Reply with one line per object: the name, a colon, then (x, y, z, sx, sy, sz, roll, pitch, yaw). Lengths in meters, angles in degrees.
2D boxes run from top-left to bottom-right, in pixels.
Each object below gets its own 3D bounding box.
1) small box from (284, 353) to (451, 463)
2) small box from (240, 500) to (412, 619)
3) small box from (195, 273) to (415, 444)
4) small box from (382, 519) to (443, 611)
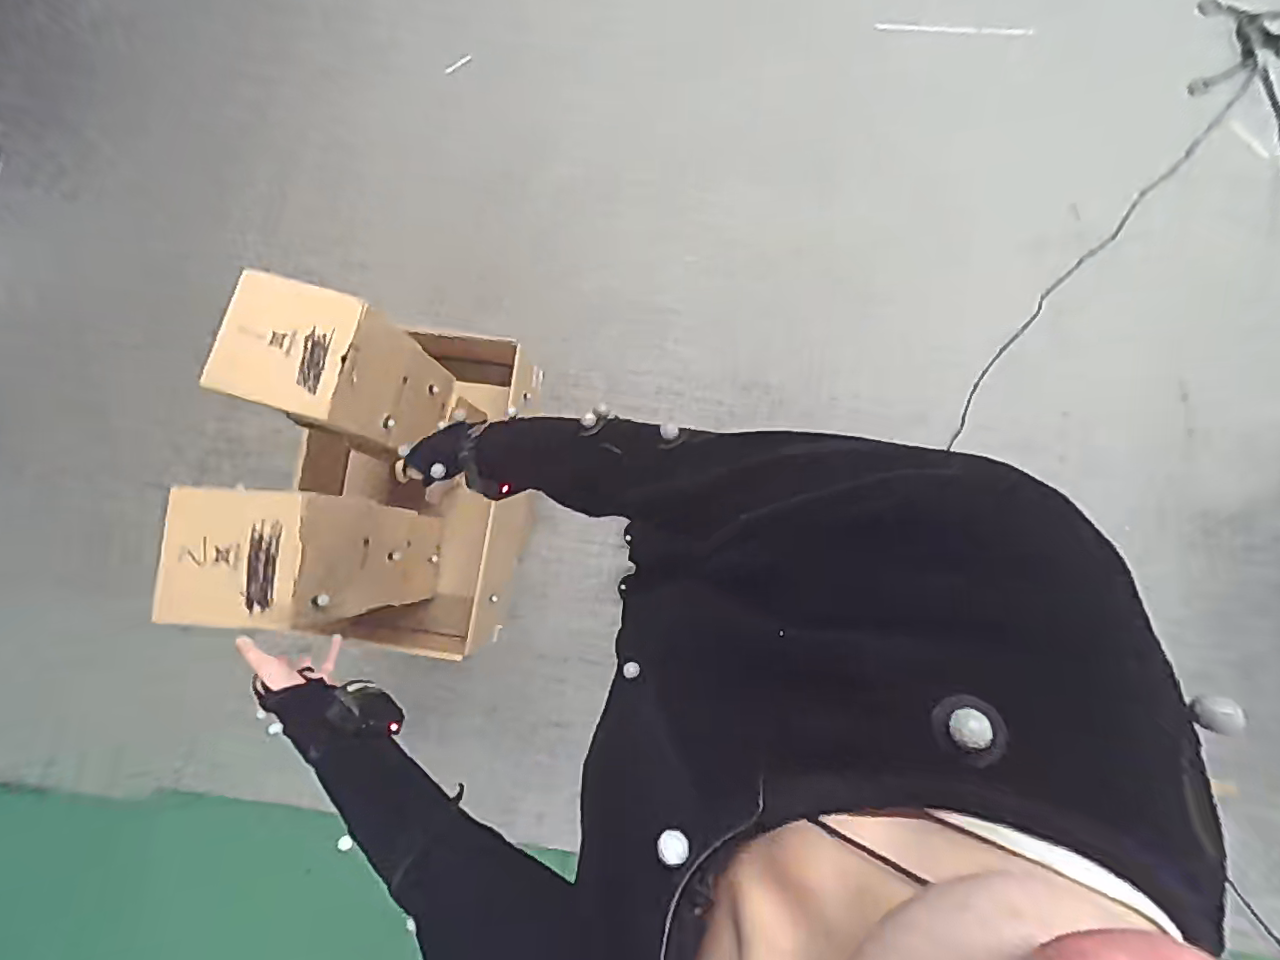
small box: (-0.447, -0.132, 0.920, 0.179, 0.176, 0.168, 13, 83, 4)
small box: (-0.499, 0.127, 0.886, 0.179, 0.176, 0.168, 4, 82, 2)
small box: (-0.449, -0.157, 0.758, 0.179, 0.176, 0.168, 16, 83, 5)
small box: (-0.507, 0.156, 1.048, 0.179, 0.176, 0.168, 4, 83, 3)
